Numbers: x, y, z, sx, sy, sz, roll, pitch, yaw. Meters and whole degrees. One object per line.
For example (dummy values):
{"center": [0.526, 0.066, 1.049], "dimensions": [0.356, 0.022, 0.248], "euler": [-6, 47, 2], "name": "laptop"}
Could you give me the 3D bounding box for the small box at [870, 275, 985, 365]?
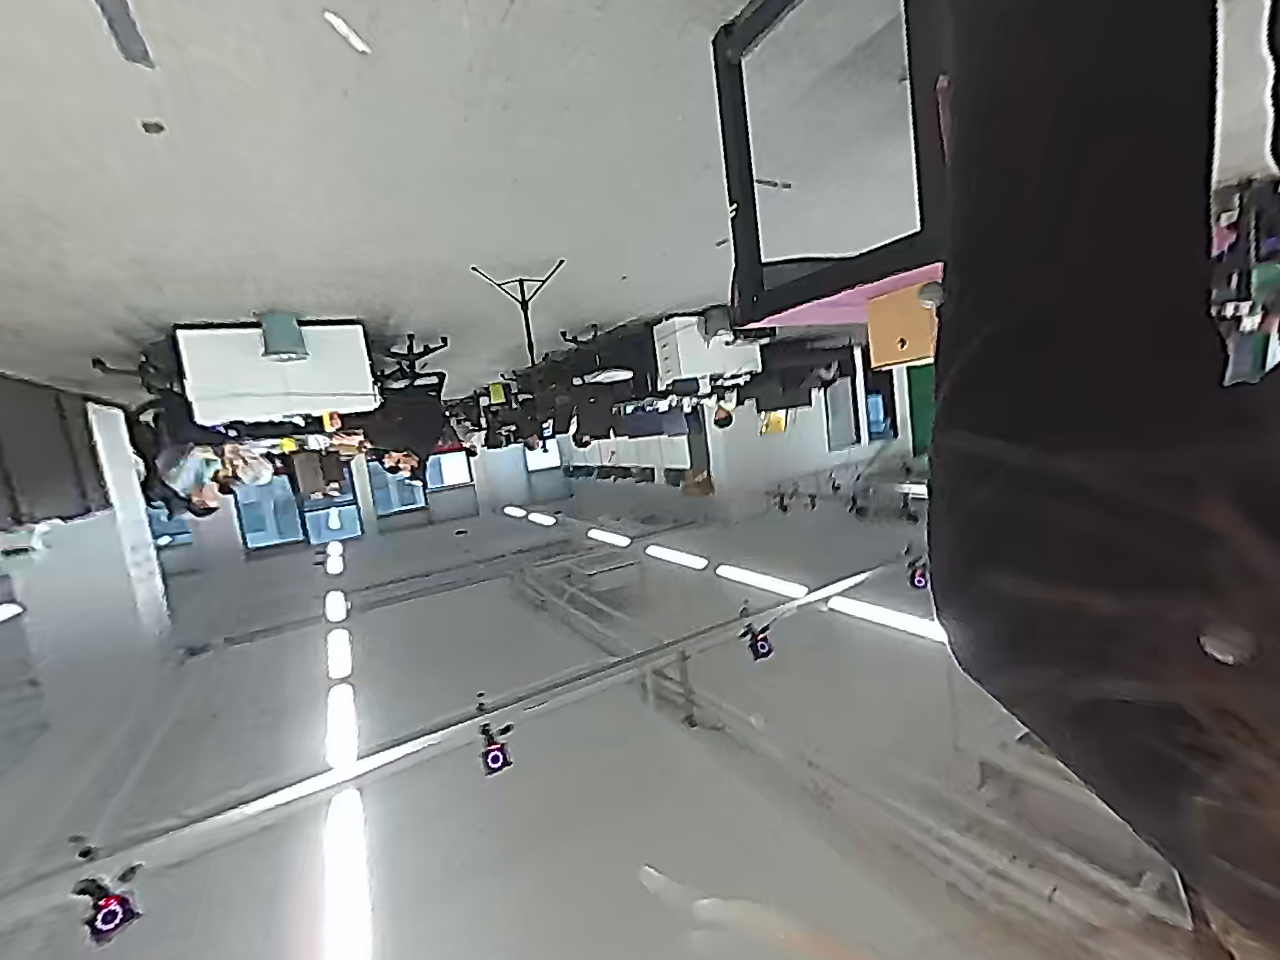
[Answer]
{"center": [0.665, -0.375, 1.265], "dimensions": [0.168, 0.176, 0.179], "euler": [-11, -173, -22], "name": "small box"}
